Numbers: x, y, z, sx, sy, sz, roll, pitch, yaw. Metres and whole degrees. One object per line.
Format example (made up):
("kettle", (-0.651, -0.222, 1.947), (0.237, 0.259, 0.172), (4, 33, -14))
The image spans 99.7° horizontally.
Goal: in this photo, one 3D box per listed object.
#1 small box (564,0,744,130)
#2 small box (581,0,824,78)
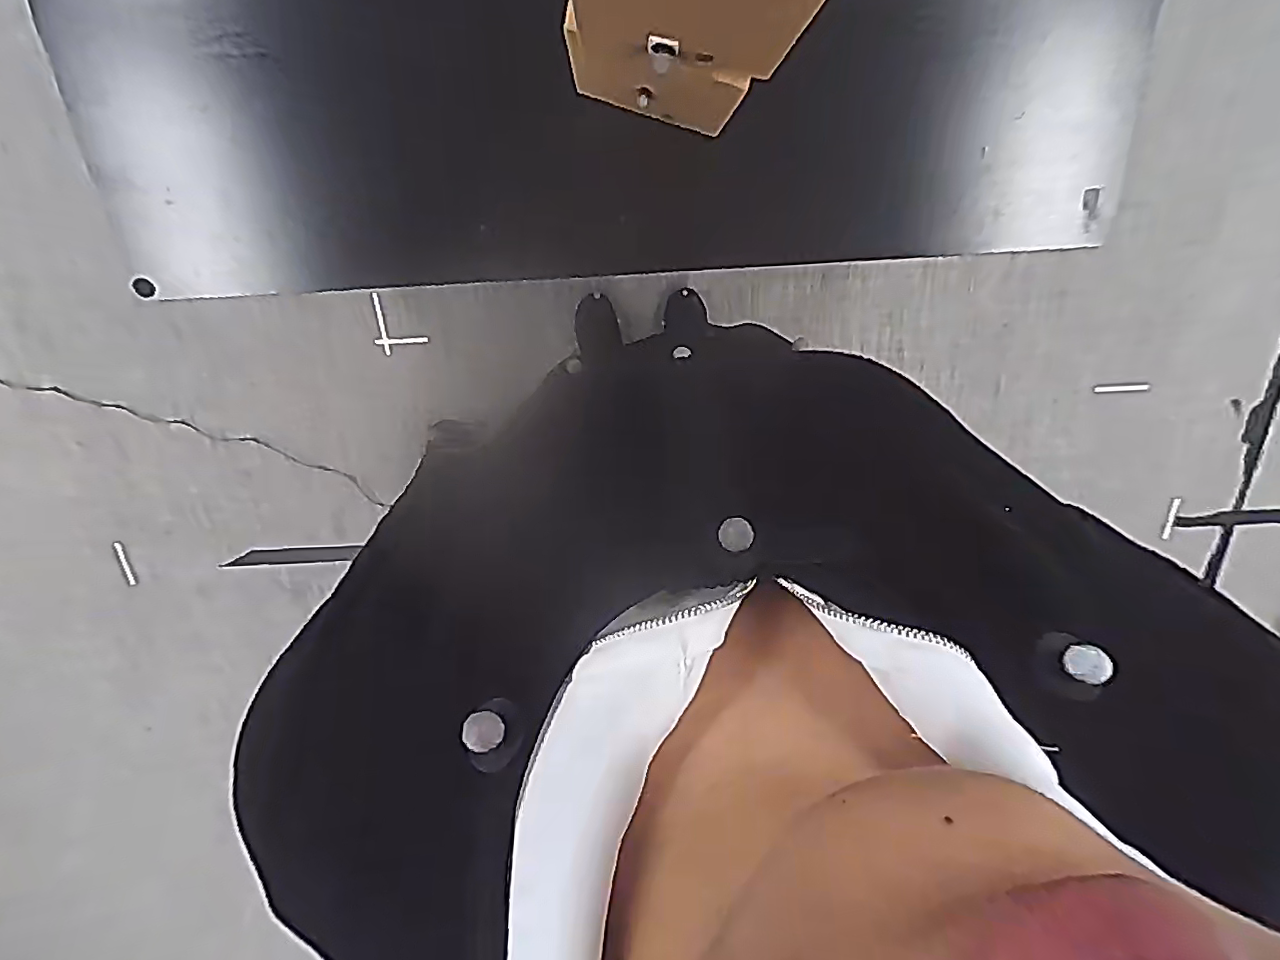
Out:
("small box", (0.033, -0.470, 0.517), (0.168, 0.176, 0.179), (13, 109, -8))
("small box", (0.043, -0.412, 0.365), (0.168, 0.176, 0.179), (5, 111, -3))
